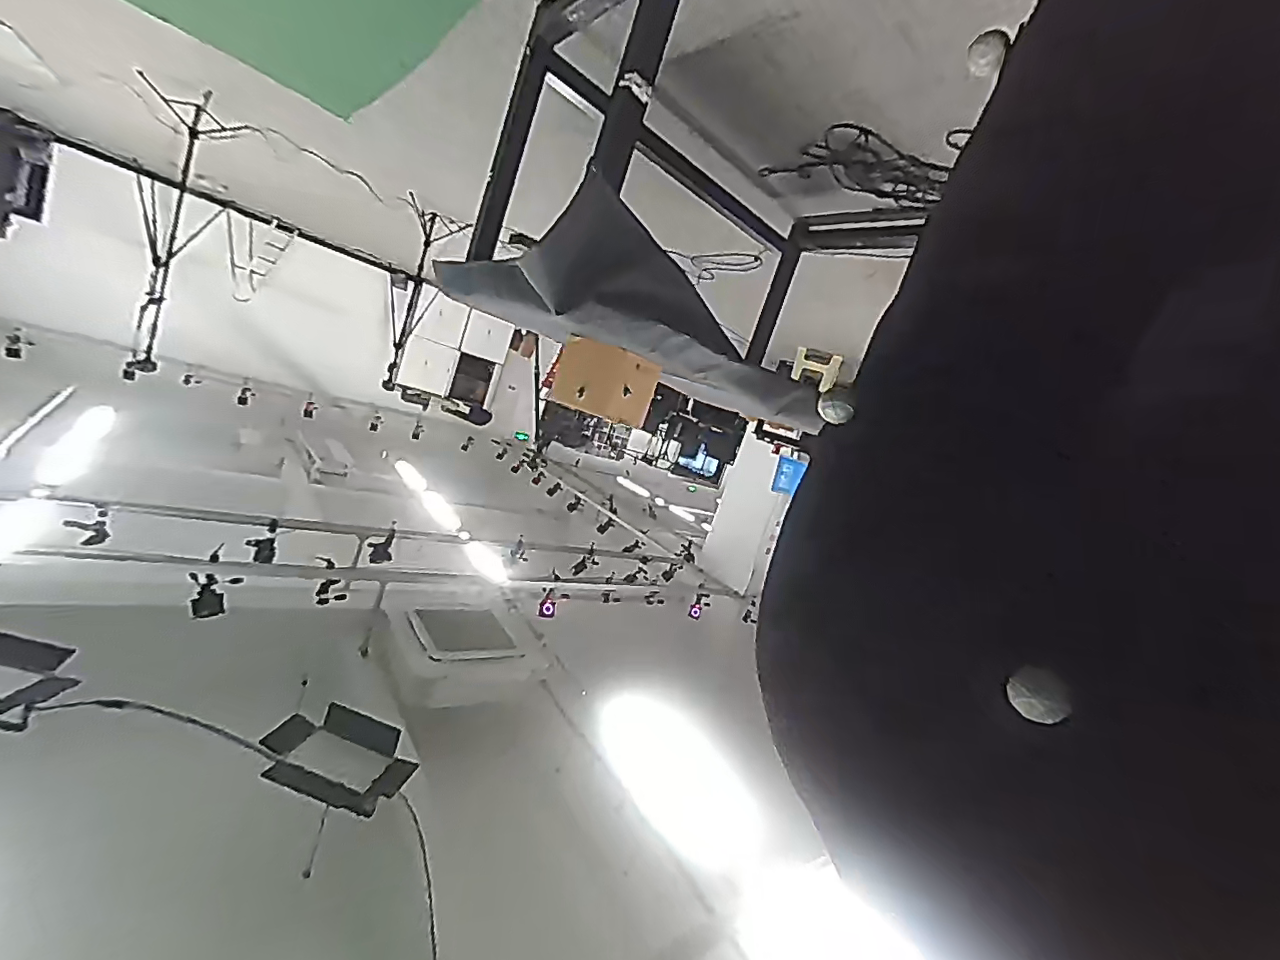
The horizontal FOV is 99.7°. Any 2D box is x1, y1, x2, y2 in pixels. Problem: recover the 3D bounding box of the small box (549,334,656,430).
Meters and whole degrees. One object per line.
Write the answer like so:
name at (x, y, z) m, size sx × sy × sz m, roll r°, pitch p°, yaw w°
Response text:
small box at (-0.080, -0.232, 1.276) m, size 0.179 × 0.176 × 0.168 m, roll 25°, pitch -172°, yaw 30°
